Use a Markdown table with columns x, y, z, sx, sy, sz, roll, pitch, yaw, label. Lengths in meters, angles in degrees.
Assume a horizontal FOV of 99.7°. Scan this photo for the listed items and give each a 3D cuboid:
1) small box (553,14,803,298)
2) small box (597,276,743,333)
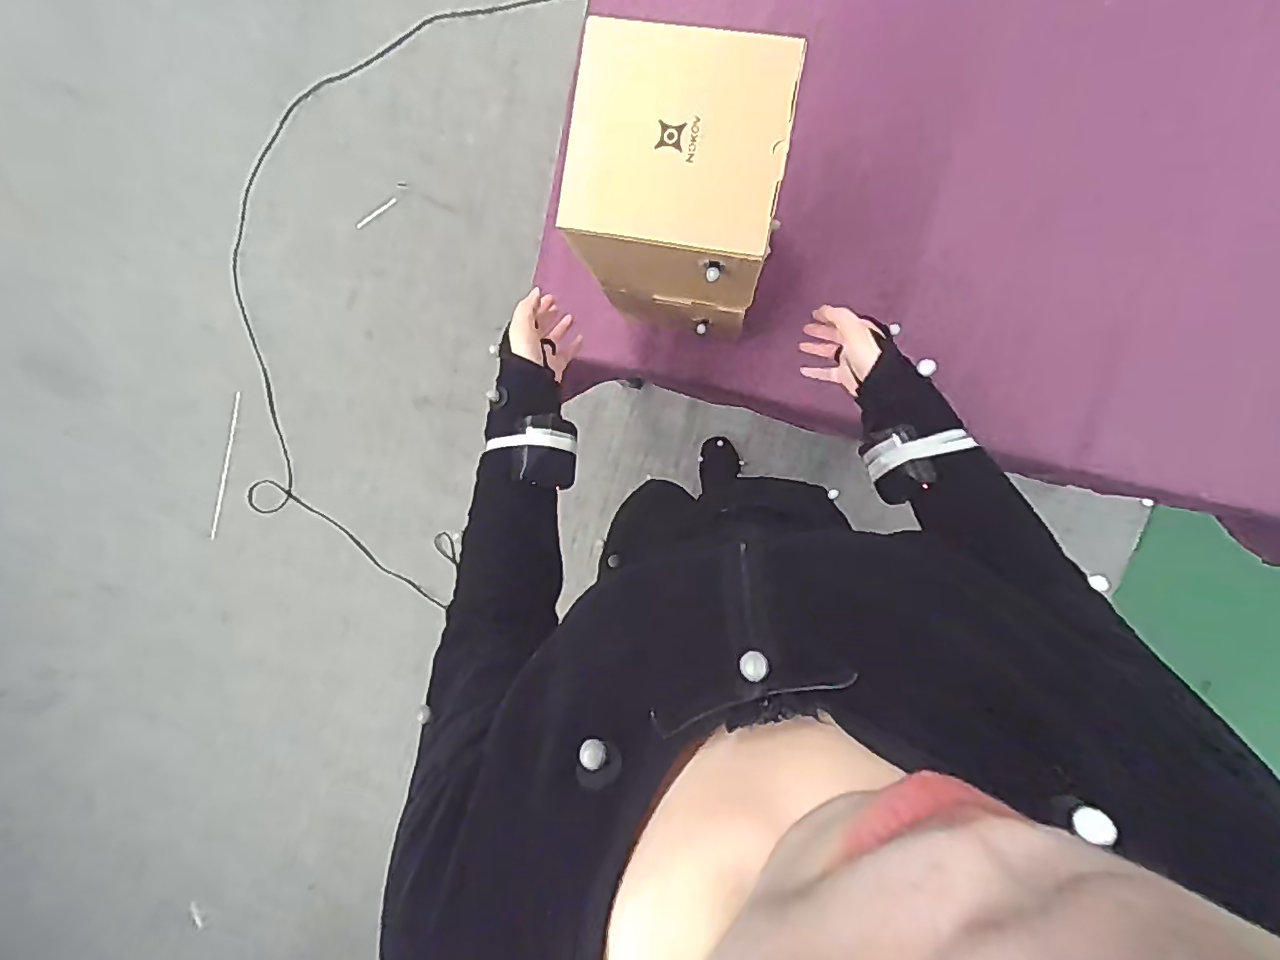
| x | y | z | sx | sy | sz | roll | pitch | yaw | label |
| --- | --- | --- | --- | --- | --- | --- | --- | --- | --- |
| 0.034 | -0.282 | 0.509 | 0.179 | 0.176 | 0.168 | 10 | 96 | 4 | small box |
| 0.057 | -0.293 | 0.670 | 0.168 | 0.176 | 0.179 | 13 | 96 | 5 | small box |
